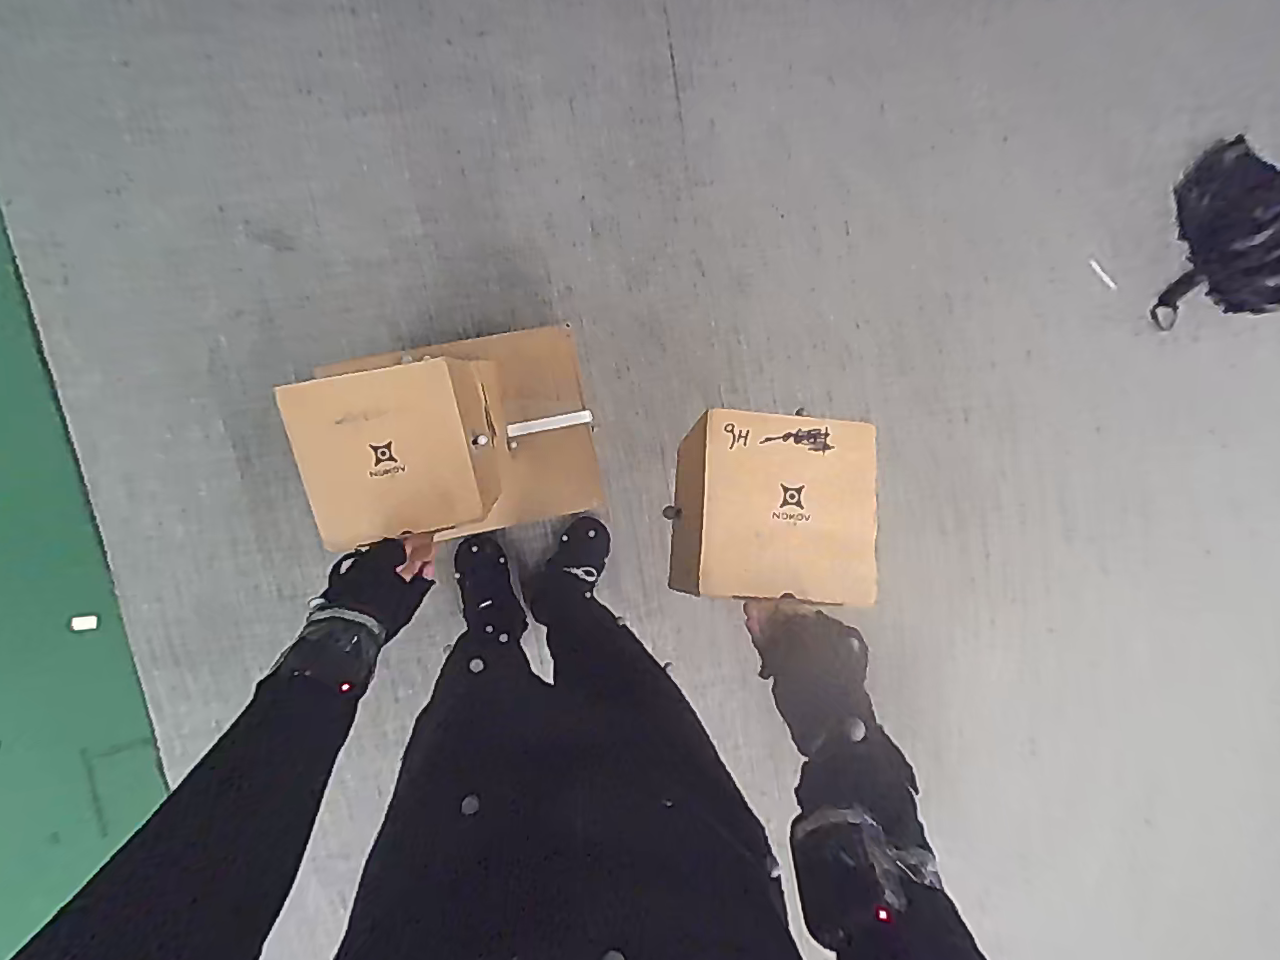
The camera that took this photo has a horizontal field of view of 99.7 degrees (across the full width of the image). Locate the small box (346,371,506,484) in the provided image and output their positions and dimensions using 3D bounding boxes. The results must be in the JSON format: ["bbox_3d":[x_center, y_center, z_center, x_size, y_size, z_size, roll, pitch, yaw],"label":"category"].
[{"bbox_3d":[-0.292,-0.071,0.782,0.179,0.176,0.168,-4,100,-7],"label":"small box"}]

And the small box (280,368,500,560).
[{"bbox_3d":[-0.268,-0.029,0.629,0.168,0.176,0.179,-12,101,-6],"label":"small box"}]

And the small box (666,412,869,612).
[{"bbox_3d":[0.125,0.040,0.583,0.168,0.176,0.179,6,81,-7],"label":"small box"}]
